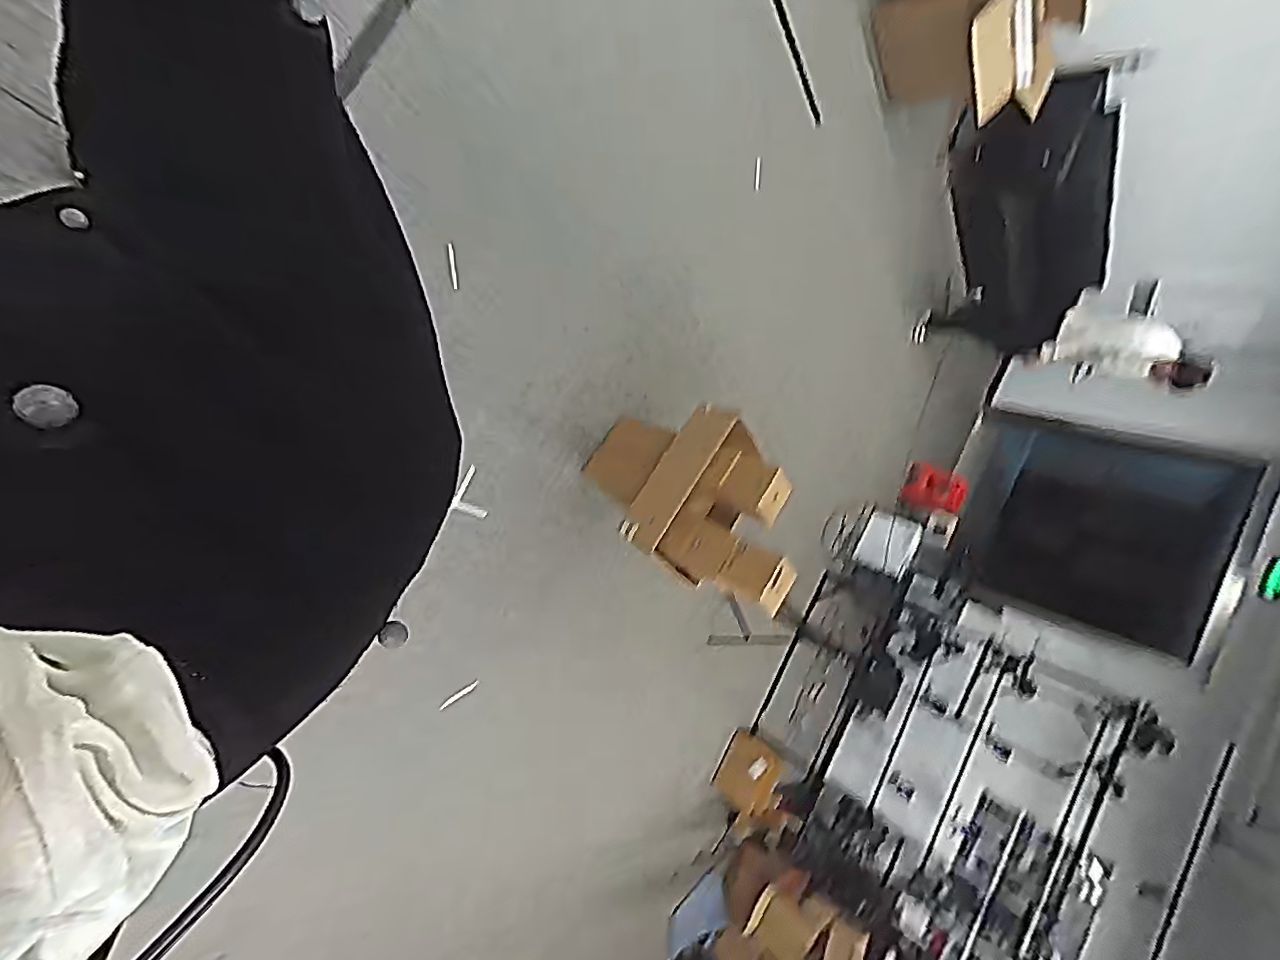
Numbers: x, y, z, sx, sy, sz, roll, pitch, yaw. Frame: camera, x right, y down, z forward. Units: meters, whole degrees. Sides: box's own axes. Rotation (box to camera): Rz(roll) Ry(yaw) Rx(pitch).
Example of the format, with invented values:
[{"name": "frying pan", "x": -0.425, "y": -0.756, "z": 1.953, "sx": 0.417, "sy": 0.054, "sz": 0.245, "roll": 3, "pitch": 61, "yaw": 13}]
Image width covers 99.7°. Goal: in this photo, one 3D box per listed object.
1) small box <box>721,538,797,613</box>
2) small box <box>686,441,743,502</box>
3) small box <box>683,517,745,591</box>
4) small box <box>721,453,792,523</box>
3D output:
[{"name": "small box", "x": 0.396, "y": 0.316, "z": 1.817, "sx": 0.168, "sy": 0.176, "sz": 0.179, "roll": -56, "pitch": 139, "yaw": -13}, {"name": "small box", "x": 0.305, "y": -0.033, "z": 2.071, "sx": 0.168, "sy": 0.176, "sz": 0.179, "roll": -57, "pitch": 139, "yaw": -10}, {"name": "small box", "x": 0.273, "y": 0.260, "z": 1.912, "sx": 0.179, "sy": 0.176, "sz": 0.168, "roll": -58, "pitch": 139, "yaw": -10}, {"name": "small box", "x": 0.423, "y": 0.025, "z": 1.970, "sx": 0.179, "sy": 0.176, "sz": 0.168, "roll": -56, "pitch": 139, "yaw": -11}]
